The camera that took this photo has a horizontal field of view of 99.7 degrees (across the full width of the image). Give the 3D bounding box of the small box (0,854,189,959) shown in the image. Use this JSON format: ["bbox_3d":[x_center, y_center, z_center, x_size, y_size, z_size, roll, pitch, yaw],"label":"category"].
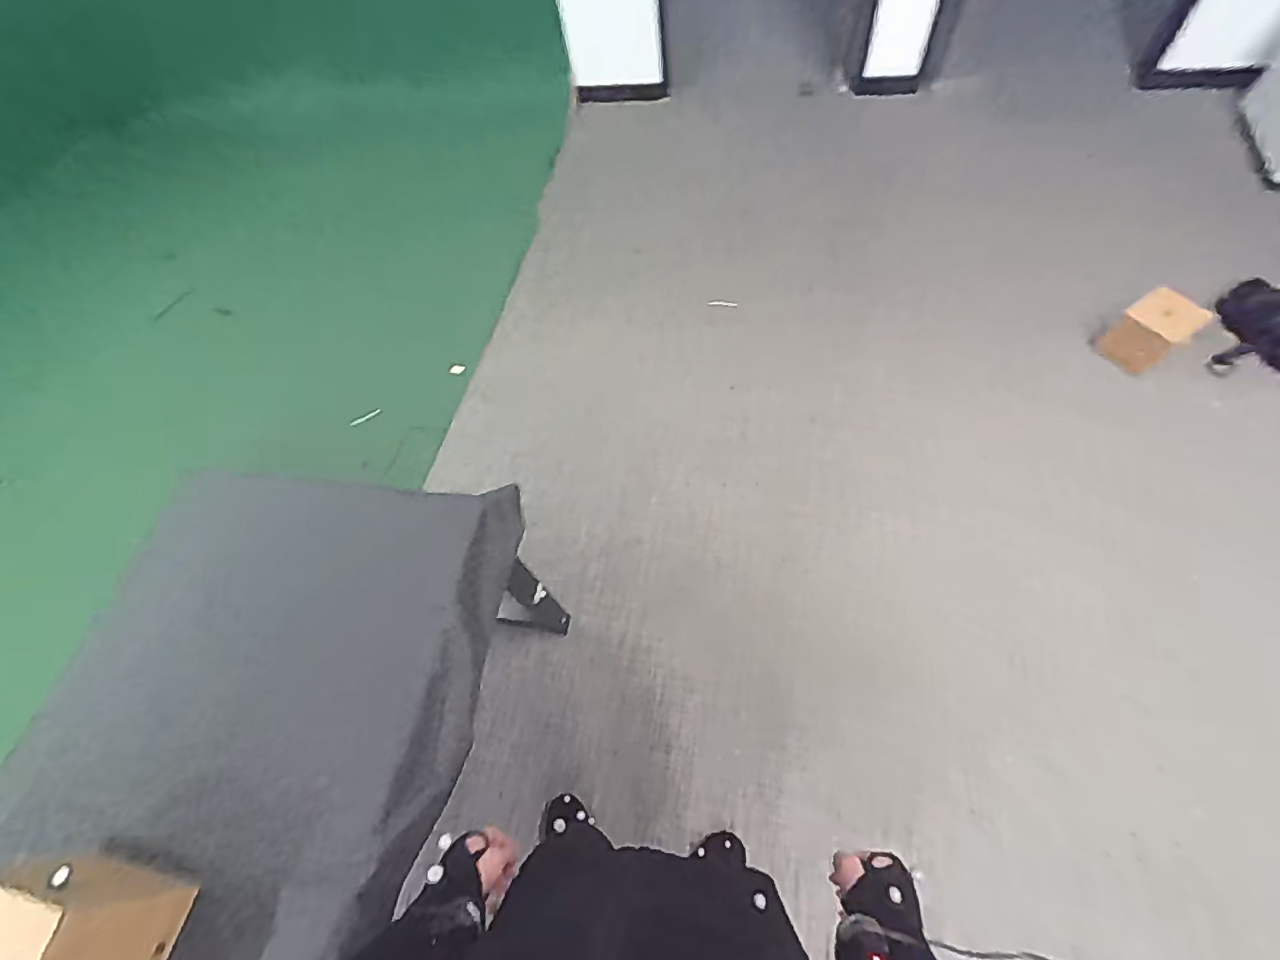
[{"bbox_3d":[-0.666,0.532,0.593,0.179,0.176,0.168,6,62,12],"label":"small box"}]
